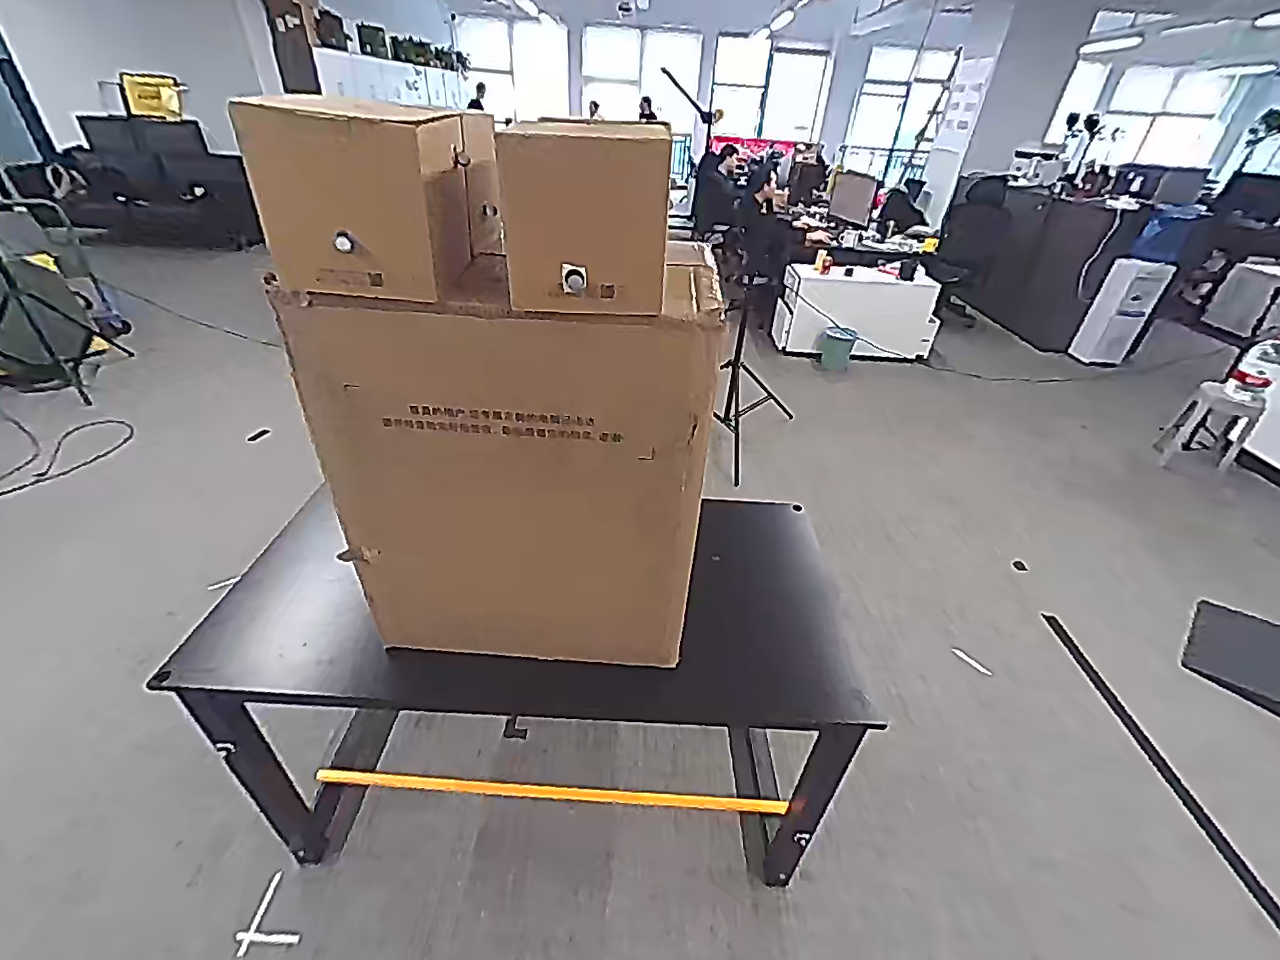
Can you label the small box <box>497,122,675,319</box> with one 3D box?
[{"bbox_3d":[-0.054,-0.291,0.603,0.168,0.176,0.179,-1,37,-3],"label":"small box"}]
